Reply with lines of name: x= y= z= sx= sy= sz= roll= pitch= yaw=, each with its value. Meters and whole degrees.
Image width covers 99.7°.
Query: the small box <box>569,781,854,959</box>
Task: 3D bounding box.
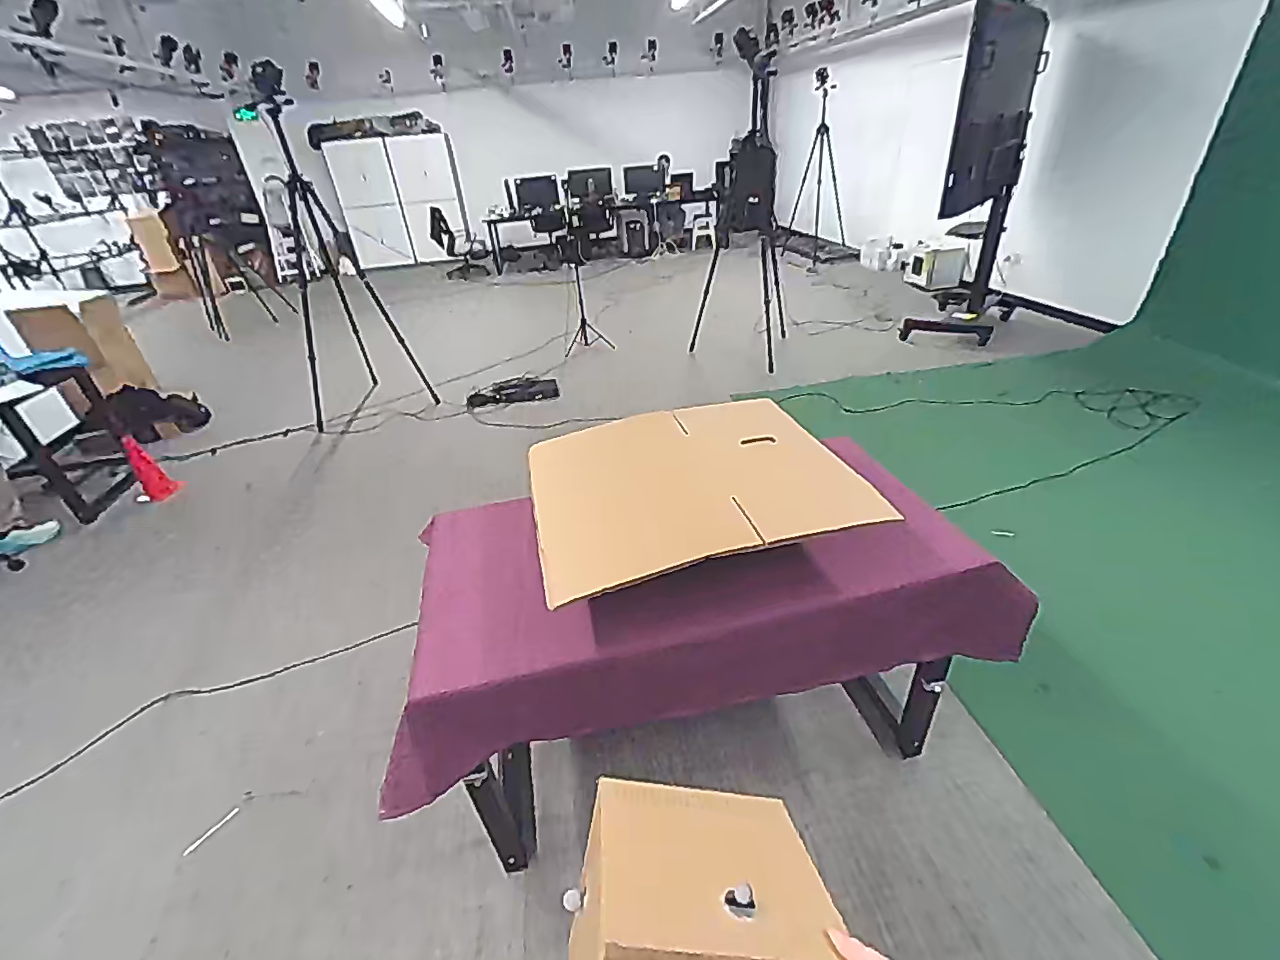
small box: x=0.039 y=0.374 z=0.434 sx=0.179 sy=0.168 sz=0.176 roll=9 pitch=4 yaw=-5
